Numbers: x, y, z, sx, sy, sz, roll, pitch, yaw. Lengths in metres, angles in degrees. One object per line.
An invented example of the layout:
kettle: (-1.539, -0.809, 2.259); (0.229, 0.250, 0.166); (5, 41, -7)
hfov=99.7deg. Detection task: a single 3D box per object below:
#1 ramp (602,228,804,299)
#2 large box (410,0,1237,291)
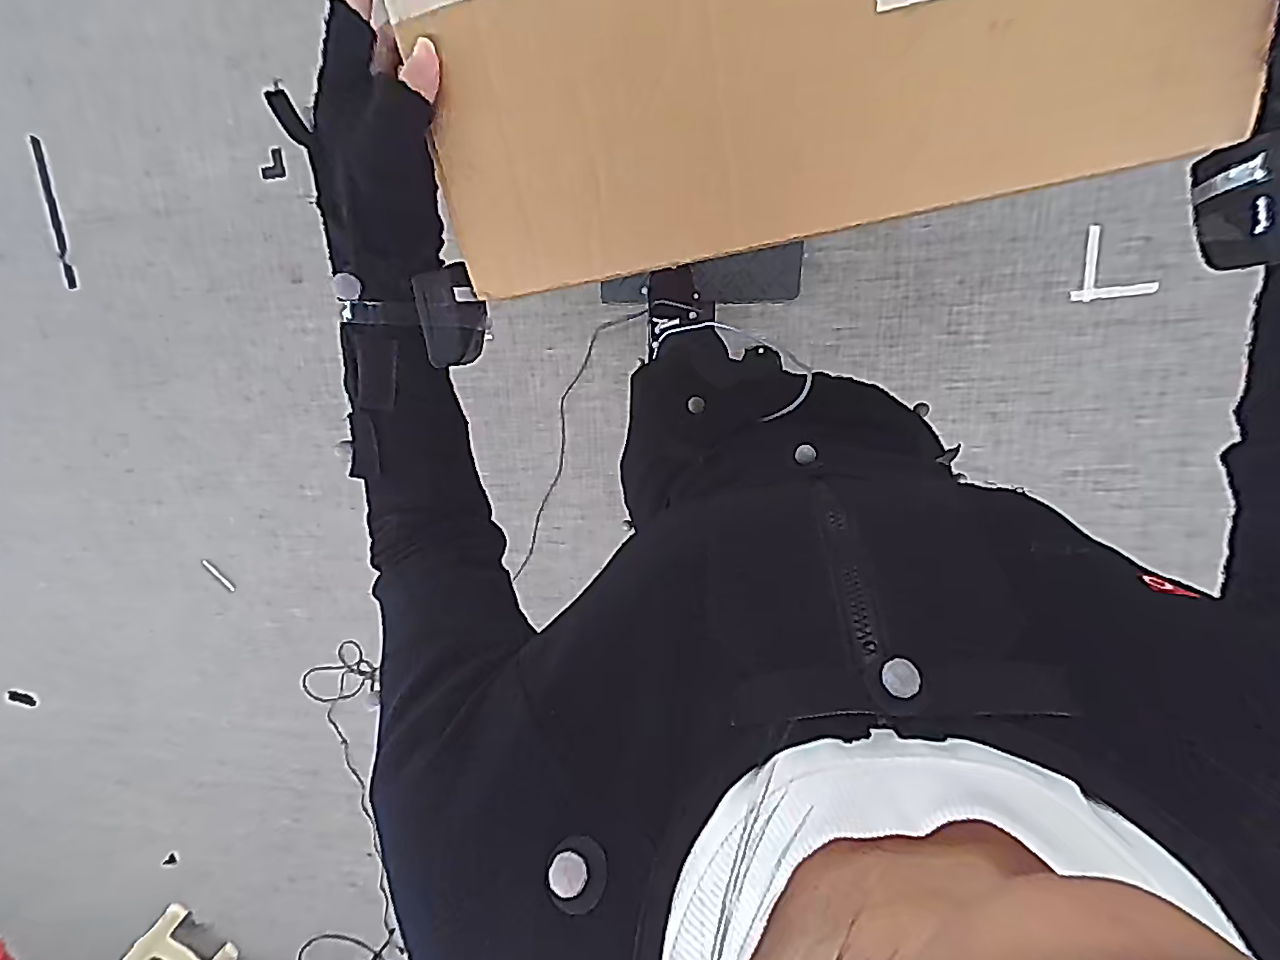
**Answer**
ramp: (0.127, -0.911, 1.144); (0.509, 0.206, 0.991); (0, 105, 8)
large box: (0.084, -0.347, 0.391); (0.408, 0.320, 0.320); (-8, 113, 12)
